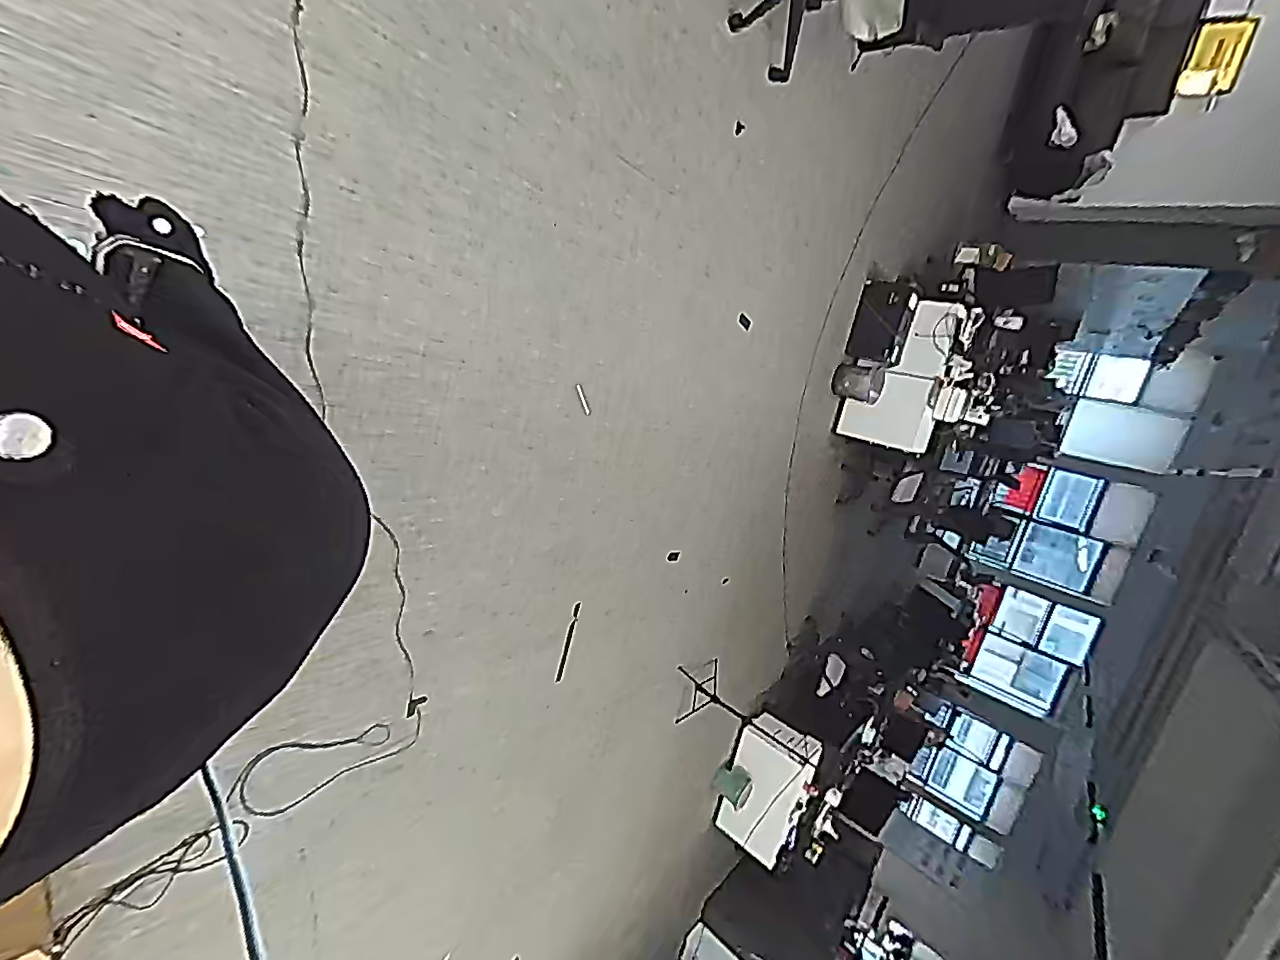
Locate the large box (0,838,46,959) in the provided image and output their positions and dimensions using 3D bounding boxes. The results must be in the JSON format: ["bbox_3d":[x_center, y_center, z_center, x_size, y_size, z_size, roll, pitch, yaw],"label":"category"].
[{"bbox_3d":[-1.420,0.988,1.004,0.408,0.320,0.320,0,107,-52],"label":"large box"}]
